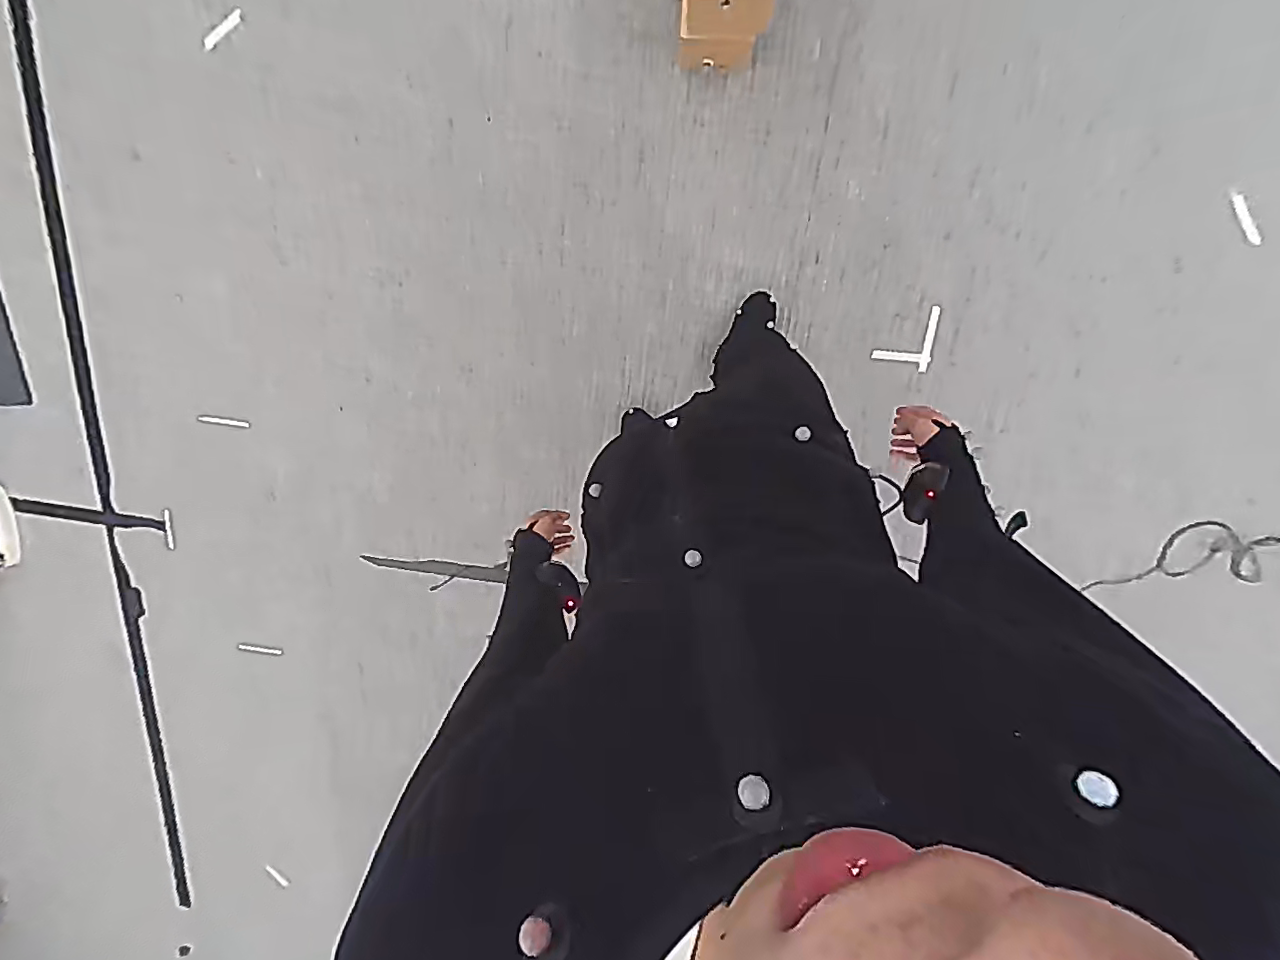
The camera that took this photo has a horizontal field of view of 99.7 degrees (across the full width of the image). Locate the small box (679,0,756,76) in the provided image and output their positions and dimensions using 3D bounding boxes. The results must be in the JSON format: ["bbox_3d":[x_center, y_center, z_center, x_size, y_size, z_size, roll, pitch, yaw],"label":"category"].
[{"bbox_3d":[0.178,-1.055,1.221,0.168,0.176,0.179,4,107,2],"label":"small box"}]

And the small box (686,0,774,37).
[{"bbox_3d":[0.182,-1.009,1.063,0.179,0.176,0.168,3,107,3],"label":"small box"}]
